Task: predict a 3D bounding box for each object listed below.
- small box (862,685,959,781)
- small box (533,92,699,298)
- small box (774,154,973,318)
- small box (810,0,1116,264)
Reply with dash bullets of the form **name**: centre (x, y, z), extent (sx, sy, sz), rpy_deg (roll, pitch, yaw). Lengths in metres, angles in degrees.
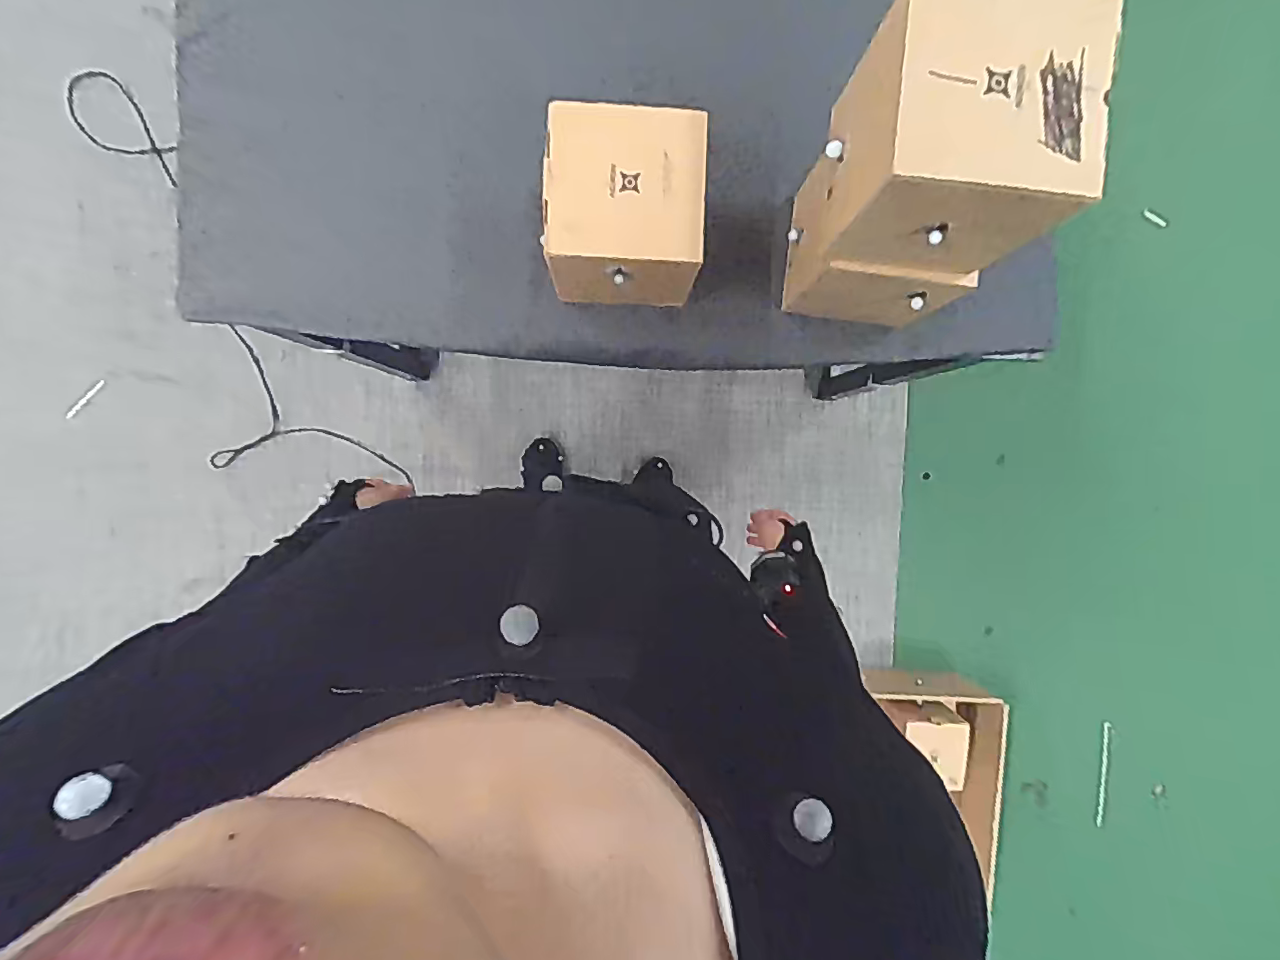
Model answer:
- **small box**: centre (0.711, 0.664, 1.437), extent (0.168, 0.176, 0.179), rpy_deg (4, 93, -3)
- **small box**: centre (-0.030, -0.328, 0.657), extent (0.179, 0.176, 0.168), rpy_deg (1, 93, -4)
- **small box**: centre (0.285, -0.310, 0.671), extent (0.179, 0.176, 0.168), rpy_deg (7, 91, -3)
- **small box**: centre (0.281, -0.318, 0.507), extent (0.179, 0.176, 0.168), rpy_deg (5, 91, -2)
